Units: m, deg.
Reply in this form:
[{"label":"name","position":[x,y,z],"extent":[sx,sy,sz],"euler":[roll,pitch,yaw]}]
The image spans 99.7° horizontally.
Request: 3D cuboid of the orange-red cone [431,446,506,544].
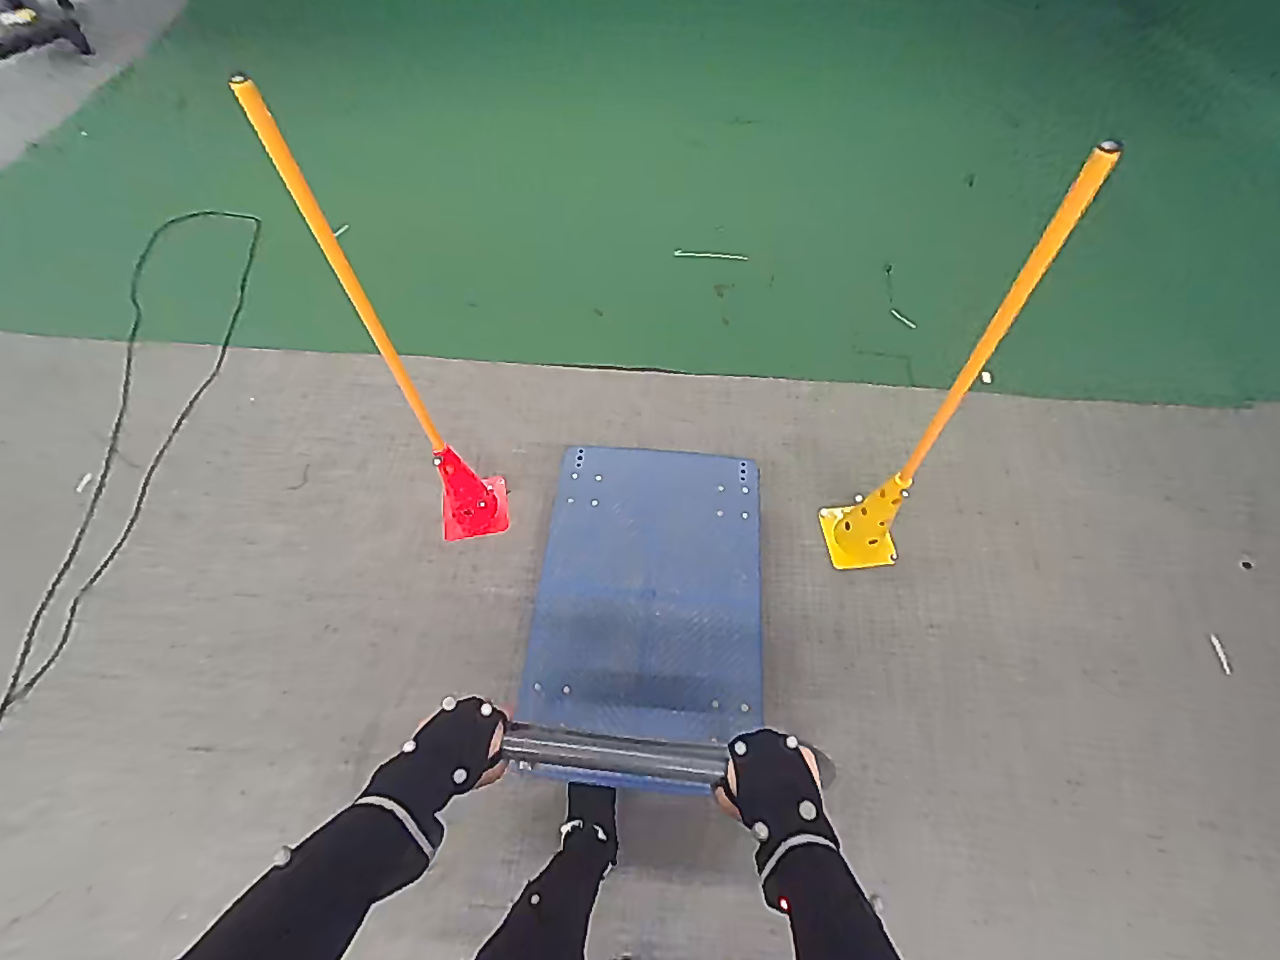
[{"label":"orange-red cone","position":[-0.520,0.018,1.542],"extent":[0.199,0.360,0.198],"euler":[-9,60,-4]}]
